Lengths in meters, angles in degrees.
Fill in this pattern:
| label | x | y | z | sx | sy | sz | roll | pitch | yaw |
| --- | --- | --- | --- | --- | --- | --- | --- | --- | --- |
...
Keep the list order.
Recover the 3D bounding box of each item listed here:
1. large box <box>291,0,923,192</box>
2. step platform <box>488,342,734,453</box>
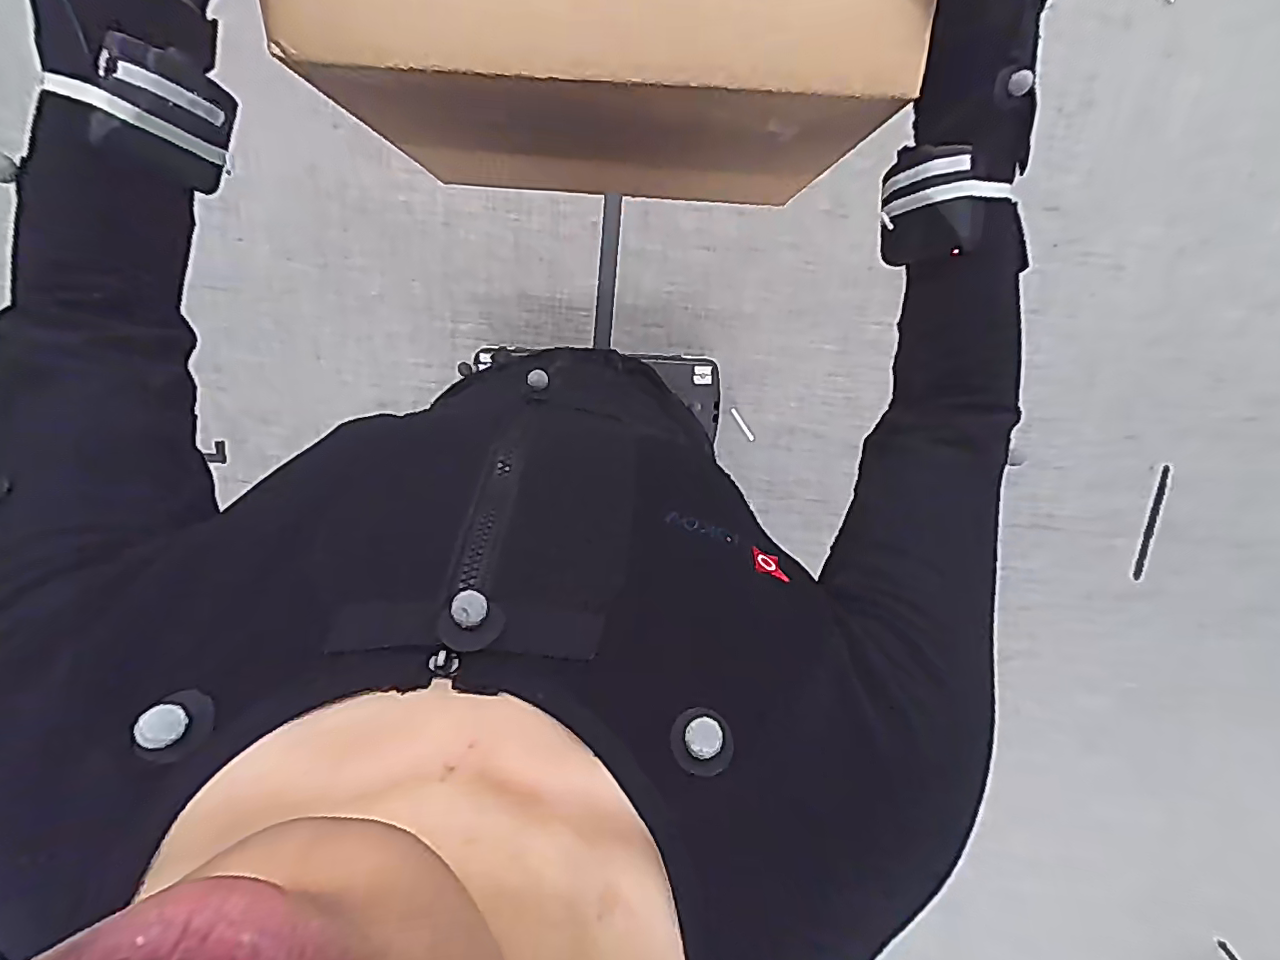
| label | x | y | z | sx | sy | sz | roll | pitch | yaw |
| --- | --- | --- | --- | --- | --- | --- | --- | --- | --- |
| large box | -0.020 | -0.450 | 0.451 | 0.408 | 0.320 | 0.320 | 2 | 107 | -2 |
| step platform | -0.080 | -0.234 | 1.536 | 0.684 | 0.204 | 0.286 | 2 | 103 | -3 |
